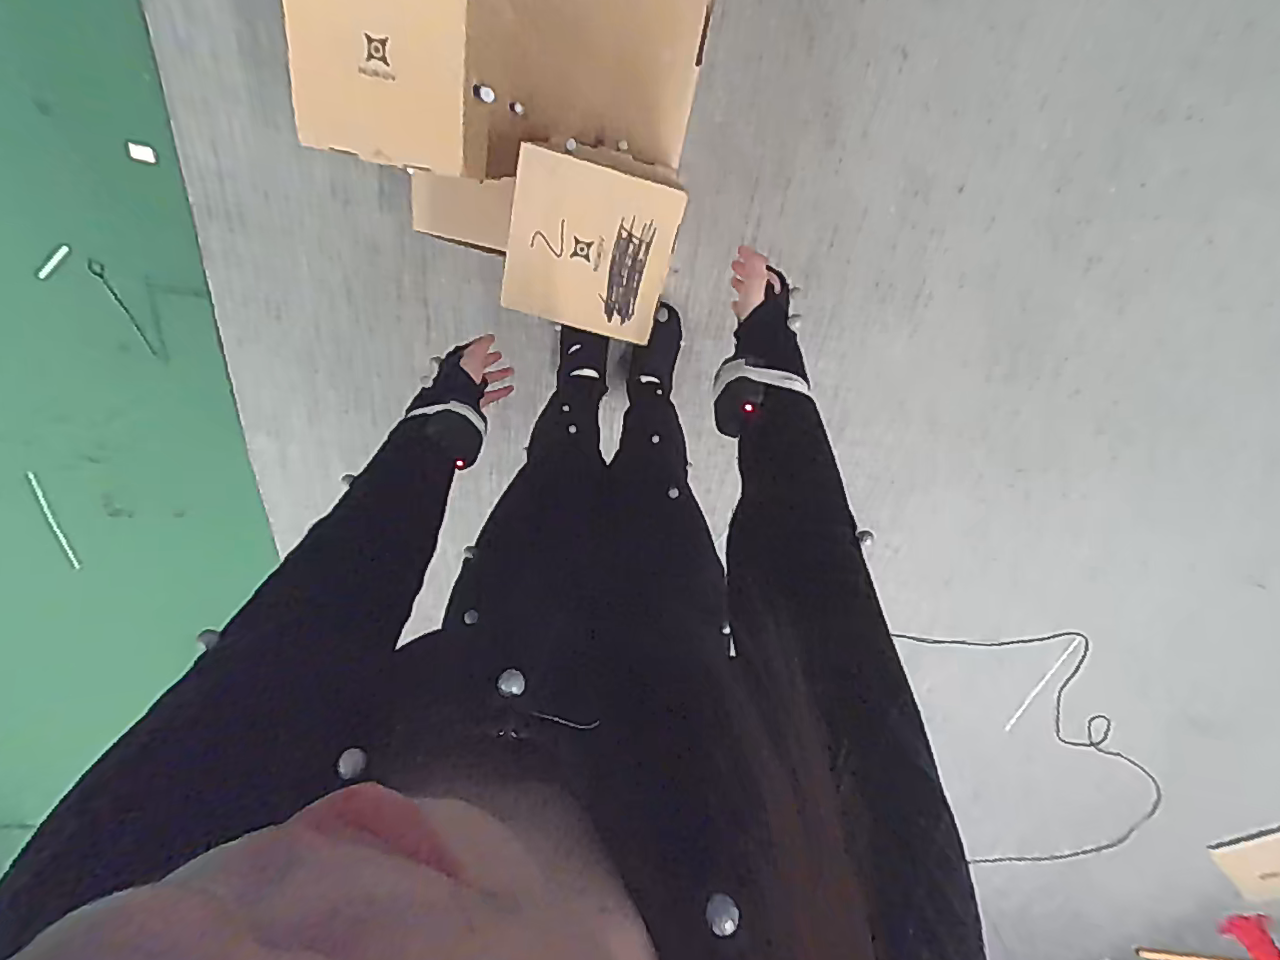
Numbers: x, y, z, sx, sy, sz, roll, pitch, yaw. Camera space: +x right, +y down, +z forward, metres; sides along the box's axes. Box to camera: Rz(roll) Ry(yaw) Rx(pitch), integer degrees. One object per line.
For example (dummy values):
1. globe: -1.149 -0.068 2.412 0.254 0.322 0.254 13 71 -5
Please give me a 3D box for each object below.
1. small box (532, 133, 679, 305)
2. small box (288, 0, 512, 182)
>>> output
1. small box: -0.049 -0.376 0.785 0.168 0.176 0.179 13 118 -6
2. small box: -0.239 -0.435 0.573 0.168 0.176 0.179 12 121 -5
